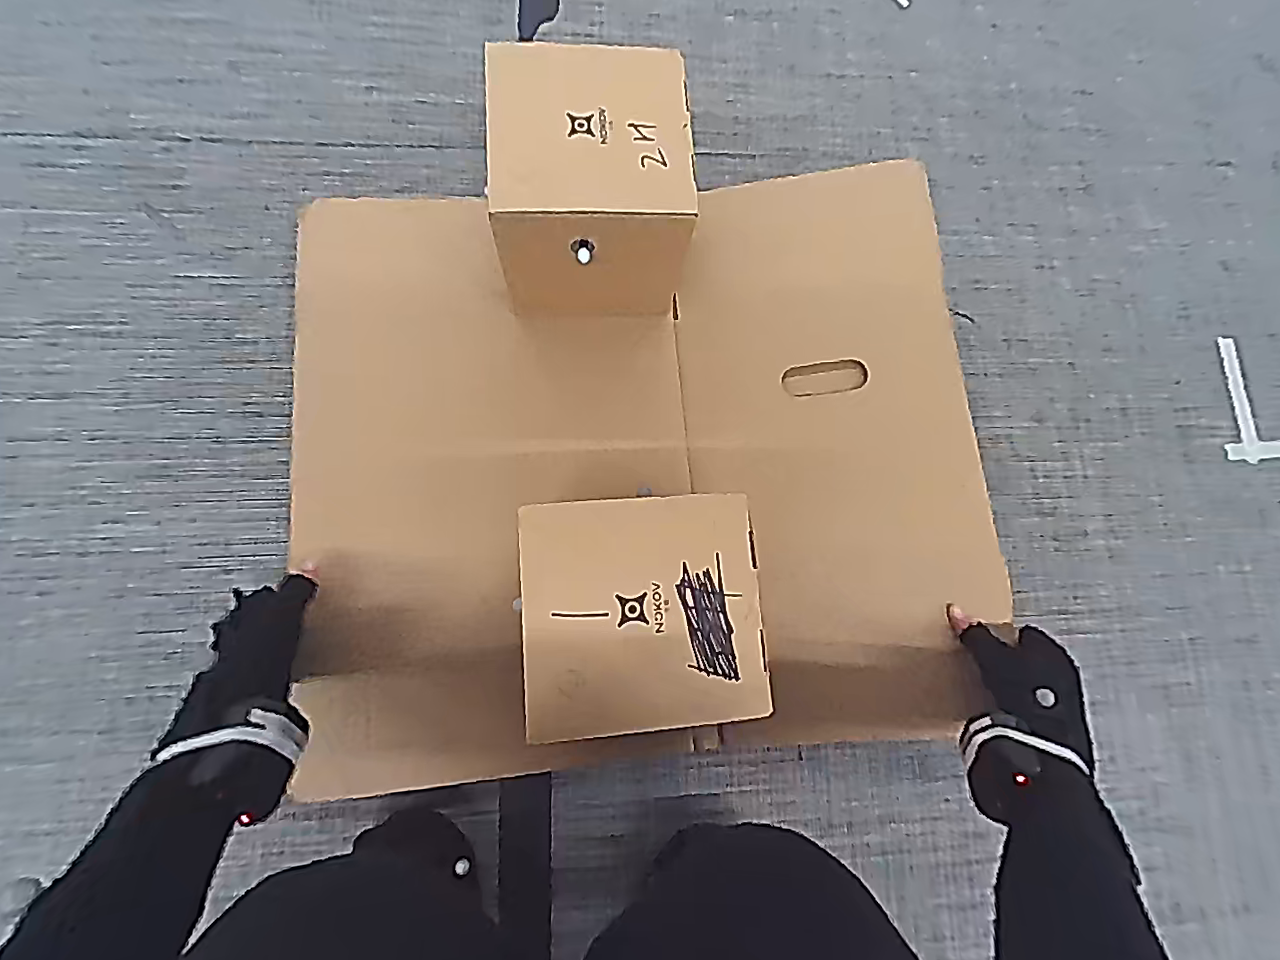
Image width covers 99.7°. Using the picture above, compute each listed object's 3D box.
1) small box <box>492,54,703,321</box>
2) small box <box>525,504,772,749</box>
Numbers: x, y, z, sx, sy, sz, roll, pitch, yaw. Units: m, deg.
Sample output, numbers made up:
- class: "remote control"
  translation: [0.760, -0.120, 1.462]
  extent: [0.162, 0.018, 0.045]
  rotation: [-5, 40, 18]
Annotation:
- class: "small box"
  translation: [-0.044, -0.272, 0.537]
  extent: [0.179, 0.176, 0.168]
  rotation: [-1, 79, -8]
- class: "small box"
  translation: [-0.004, 0.114, 0.470]
  extent: [0.179, 0.176, 0.168]
  rotation: [-3, 80, -7]
